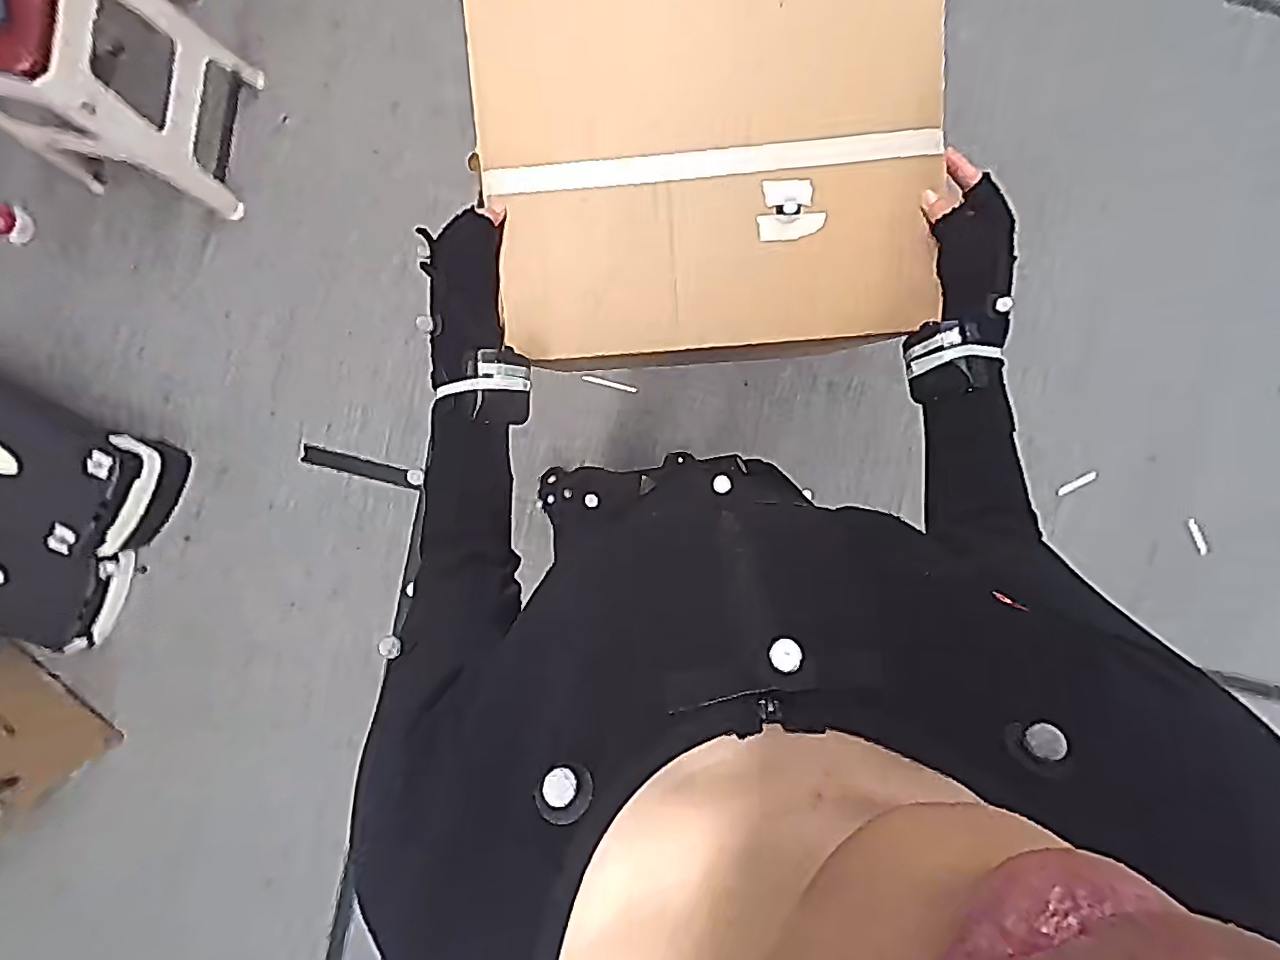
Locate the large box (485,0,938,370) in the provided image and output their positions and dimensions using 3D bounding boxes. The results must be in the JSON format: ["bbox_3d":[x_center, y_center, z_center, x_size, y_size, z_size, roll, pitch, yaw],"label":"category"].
[{"bbox_3d":[0.070,-0.308,0.641,0.408,0.320,0.320,-3,100,1],"label":"large box"}]
